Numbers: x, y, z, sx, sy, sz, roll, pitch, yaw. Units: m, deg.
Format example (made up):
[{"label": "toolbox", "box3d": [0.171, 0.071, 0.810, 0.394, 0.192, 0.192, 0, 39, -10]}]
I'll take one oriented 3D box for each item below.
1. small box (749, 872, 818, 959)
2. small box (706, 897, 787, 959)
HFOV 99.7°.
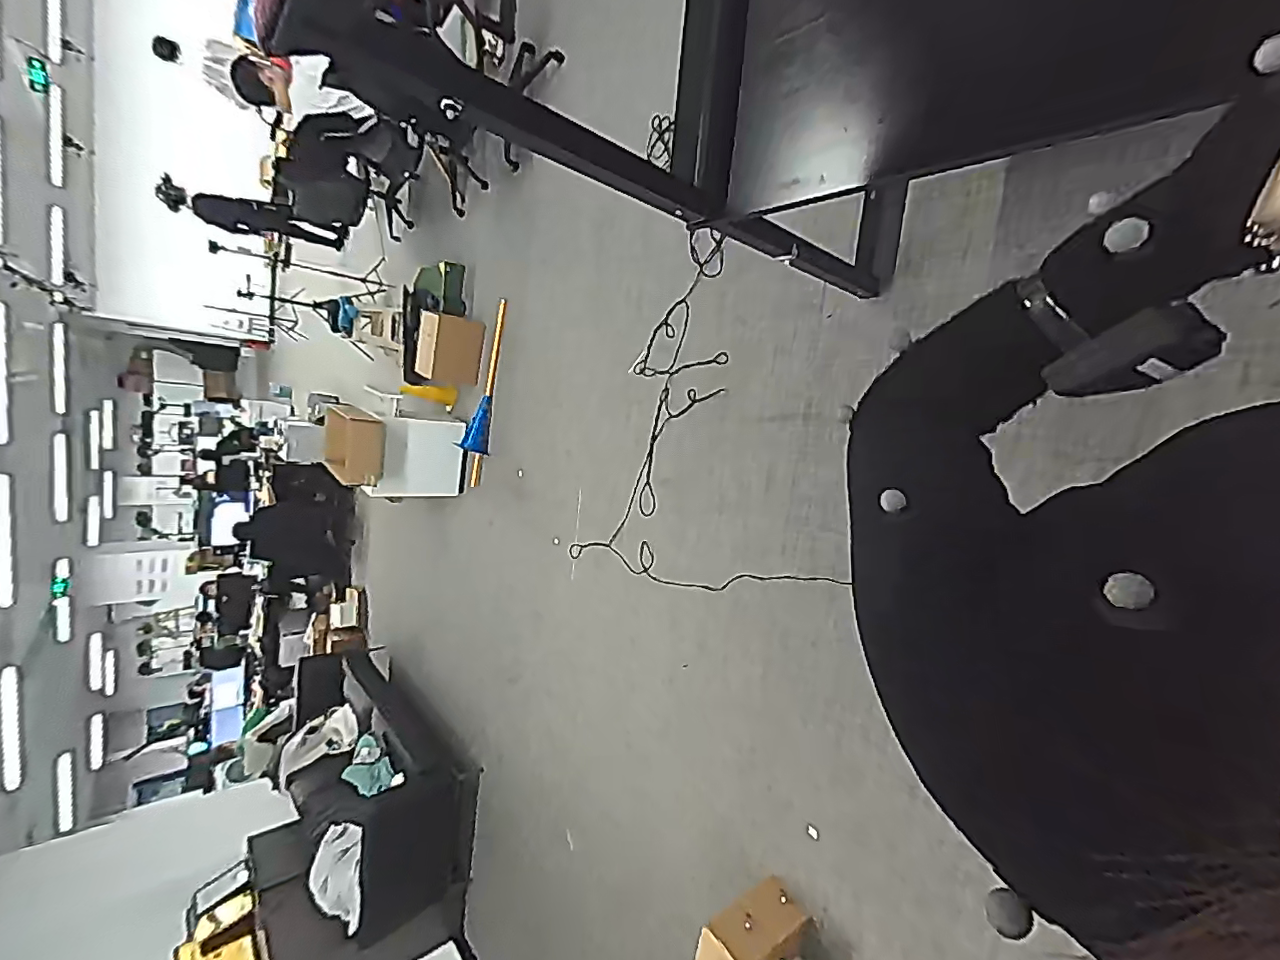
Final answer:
[{"label": "small box", "box3d": [0.450, 1.433, 1.746, 0.168, 0.176, 0.179, 24, 107, 46]}, {"label": "small box", "box3d": [0.324, 1.437, 1.640, 0.168, 0.176, 0.179, 21, 106, 46]}]
